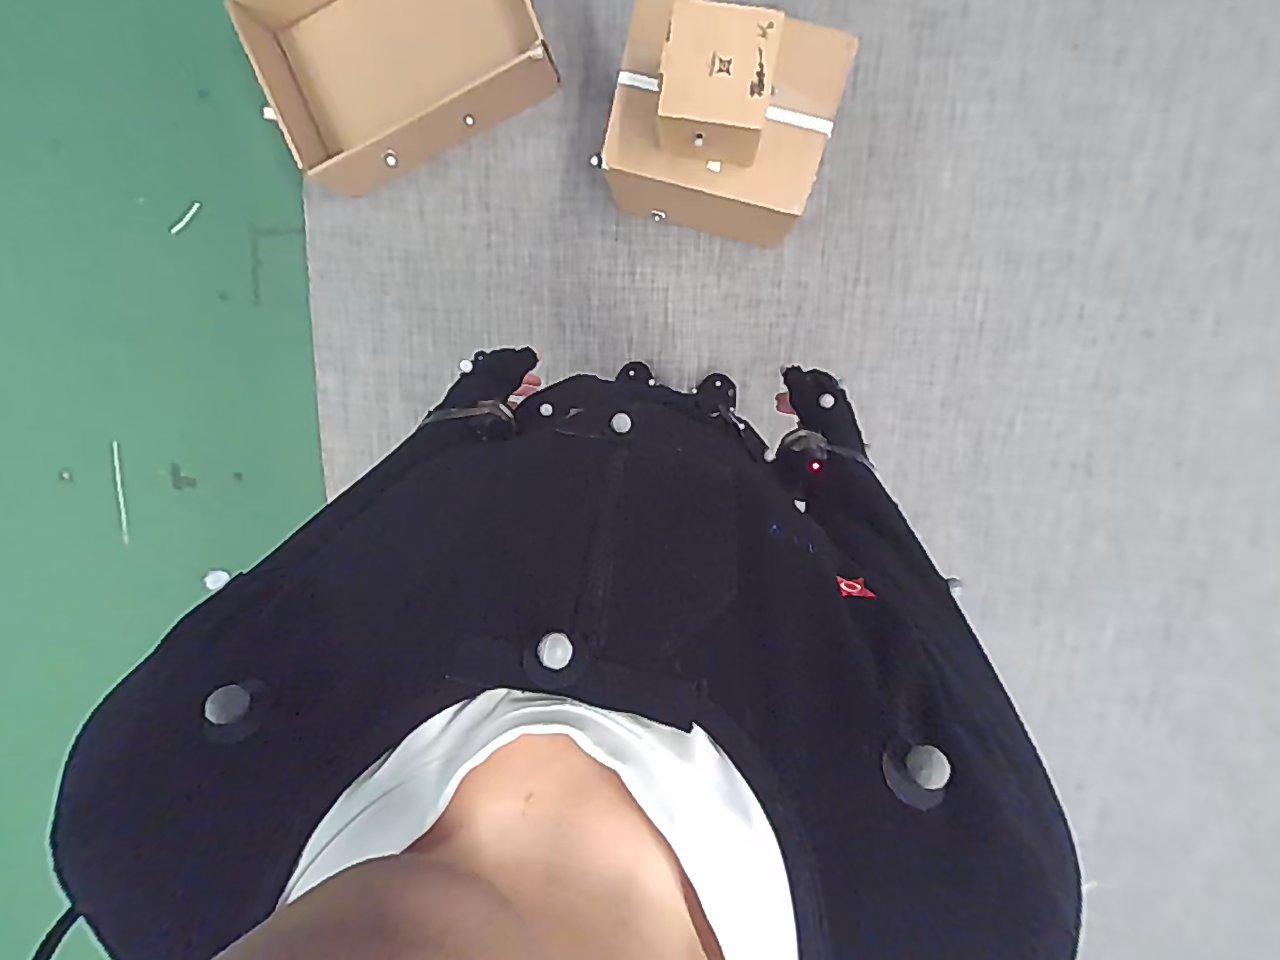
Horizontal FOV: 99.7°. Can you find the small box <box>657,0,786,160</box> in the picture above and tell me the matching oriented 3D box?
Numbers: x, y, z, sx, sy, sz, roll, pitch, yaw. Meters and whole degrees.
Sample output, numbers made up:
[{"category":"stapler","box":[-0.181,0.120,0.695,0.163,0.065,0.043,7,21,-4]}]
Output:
[{"category":"small box","box":[0.134,-0.668,0.918,0.179,0.176,0.168,10,103,5]}]
